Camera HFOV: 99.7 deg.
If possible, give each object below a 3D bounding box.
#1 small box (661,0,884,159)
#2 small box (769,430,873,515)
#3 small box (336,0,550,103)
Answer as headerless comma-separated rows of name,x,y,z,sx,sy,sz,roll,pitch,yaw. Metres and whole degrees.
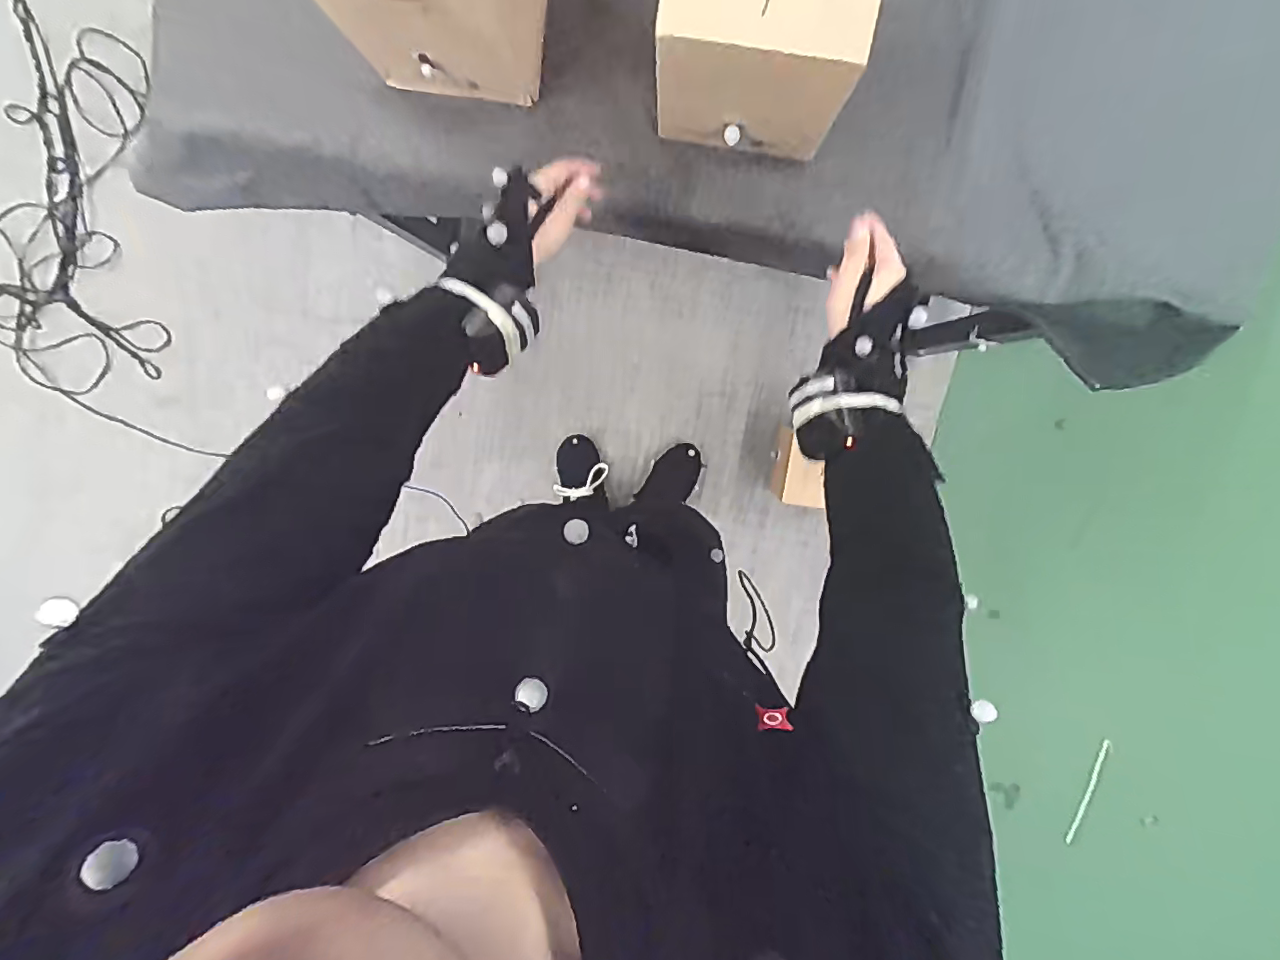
small box,0.113,-0.423,0.478,0.168,0.176,0.179,10,99,2
small box,0.414,-0.024,1.261,0.179,0.176,0.168,7,97,2
small box,-0.180,-0.487,0.487,0.168,0.176,0.179,8,99,1
